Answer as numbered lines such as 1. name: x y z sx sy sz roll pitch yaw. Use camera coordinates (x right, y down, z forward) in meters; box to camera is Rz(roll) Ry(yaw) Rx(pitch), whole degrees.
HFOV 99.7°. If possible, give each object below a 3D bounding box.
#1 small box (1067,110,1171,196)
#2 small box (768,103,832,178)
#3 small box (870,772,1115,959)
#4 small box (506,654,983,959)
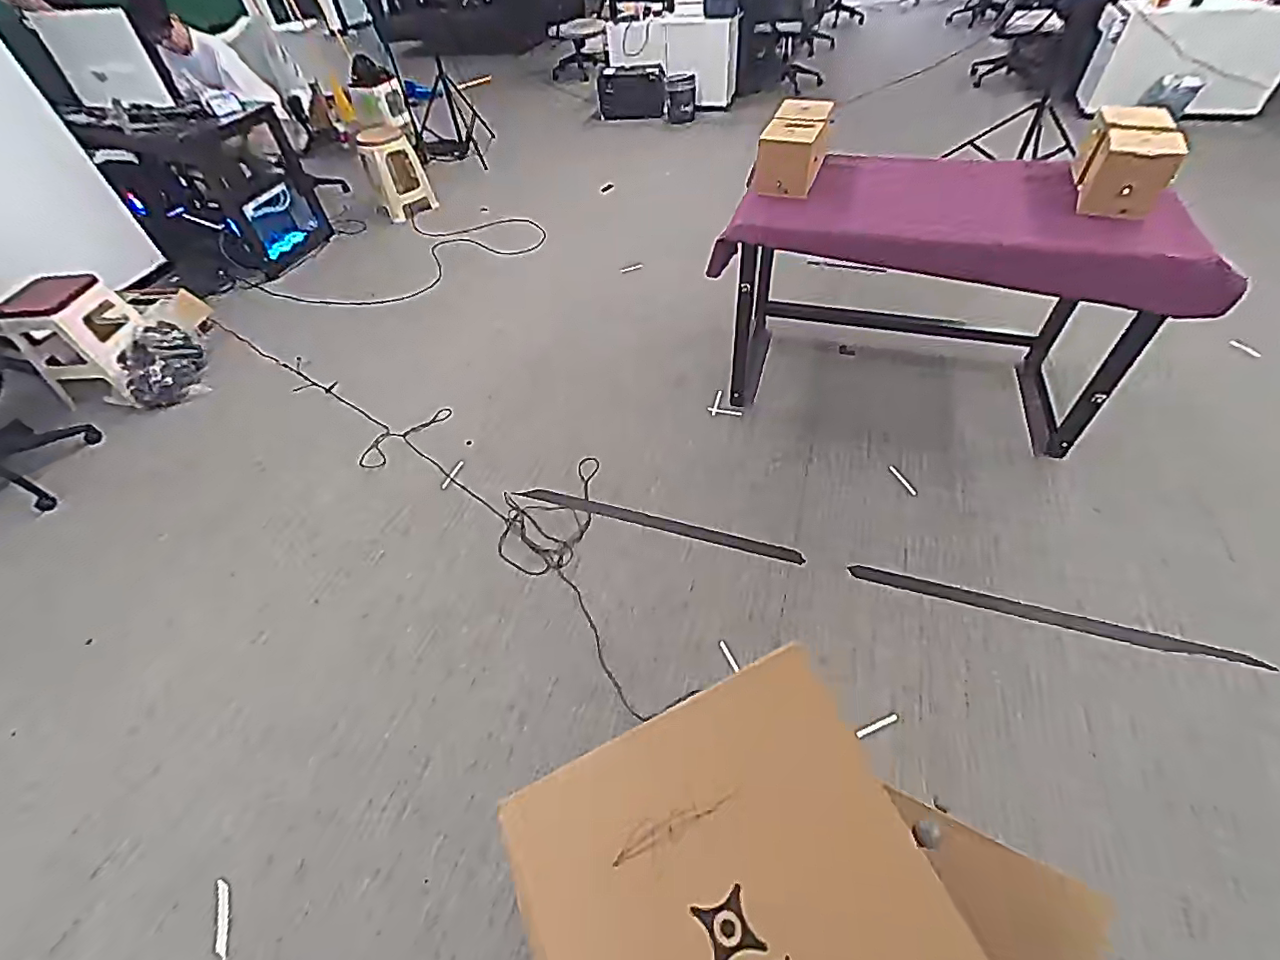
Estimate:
1. small box: 1.408 -0.972 1.605 0.168 0.176 0.179 15 52 17
2. small box: 0.540 -1.158 1.842 0.168 0.176 0.179 15 53 18
3. small box: 0.185 0.322 0.391 0.179 0.176 0.168 20 69 22
4. small box: 0.062 0.220 0.285 0.168 0.176 0.179 -30 58 1
